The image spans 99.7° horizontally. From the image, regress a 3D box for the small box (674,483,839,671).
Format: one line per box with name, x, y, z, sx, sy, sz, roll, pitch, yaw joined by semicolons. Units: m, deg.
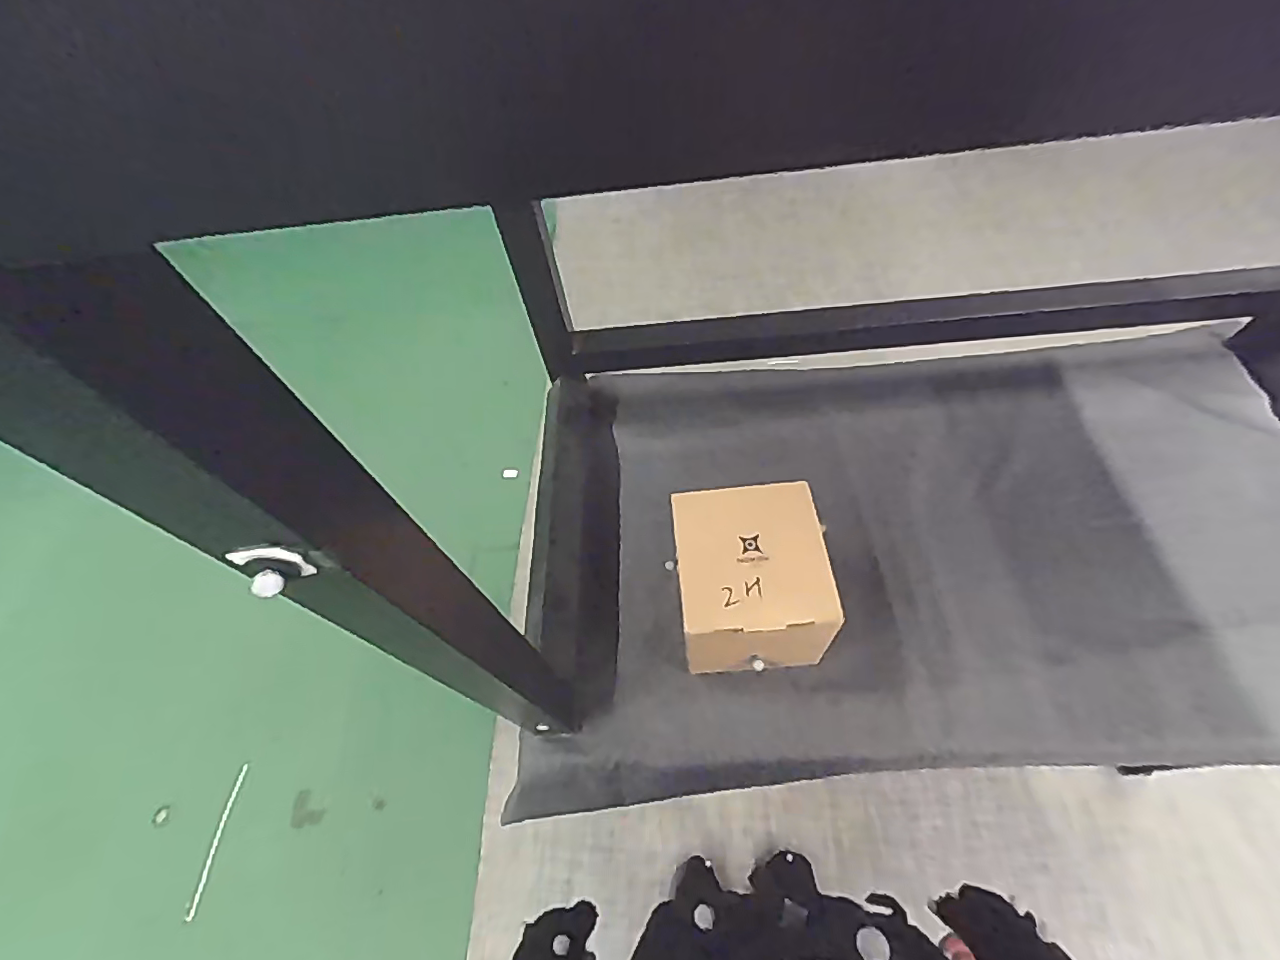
small box;0.130;0.125;0.675;0.168;0.176;0.179;-5;56;4
